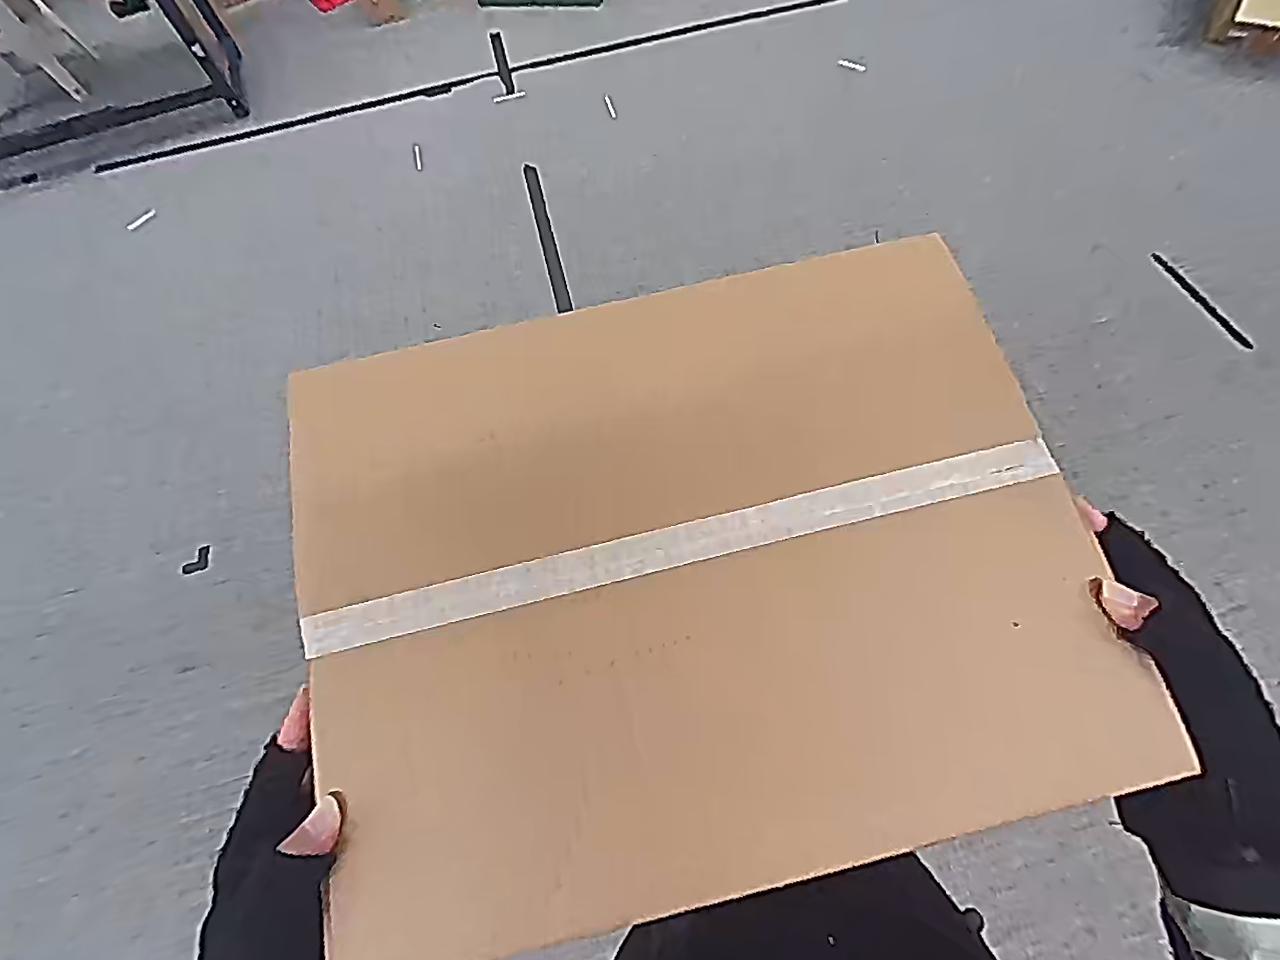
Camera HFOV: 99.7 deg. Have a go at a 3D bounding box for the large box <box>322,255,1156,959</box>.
[{"bbox_3d":[0.032,0.085,0.443,0.408,0.320,0.320,-14,74,-2],"label":"large box"}]
